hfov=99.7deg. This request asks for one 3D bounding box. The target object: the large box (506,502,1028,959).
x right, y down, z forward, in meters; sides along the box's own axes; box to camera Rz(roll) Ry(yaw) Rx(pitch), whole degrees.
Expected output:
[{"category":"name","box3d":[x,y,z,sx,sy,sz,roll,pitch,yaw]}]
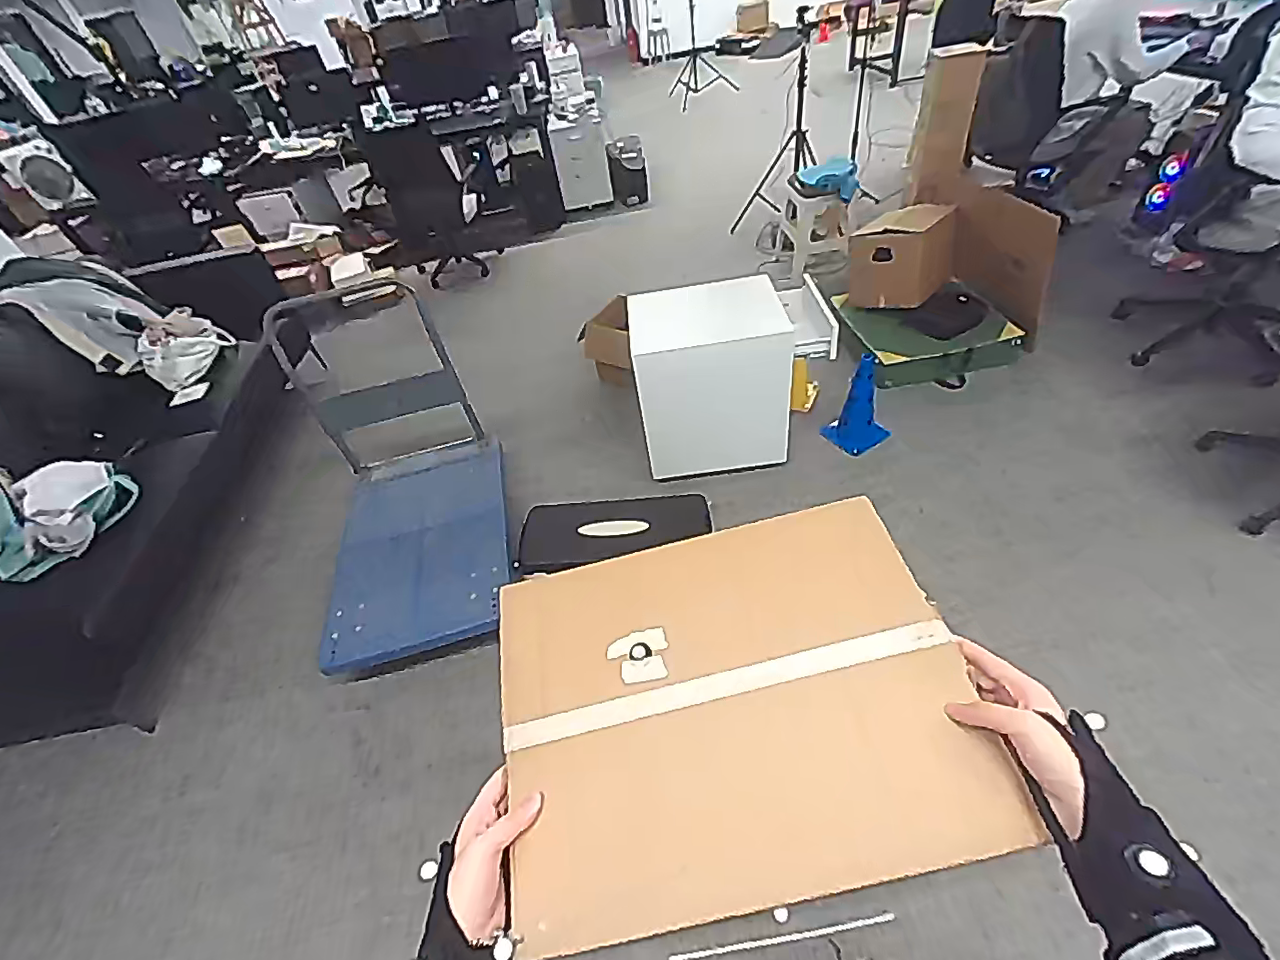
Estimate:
[{"category":"large box","box3d":[0.103,0.279,0.616,0.408,0.320,0.320,-16,53,3]}]
